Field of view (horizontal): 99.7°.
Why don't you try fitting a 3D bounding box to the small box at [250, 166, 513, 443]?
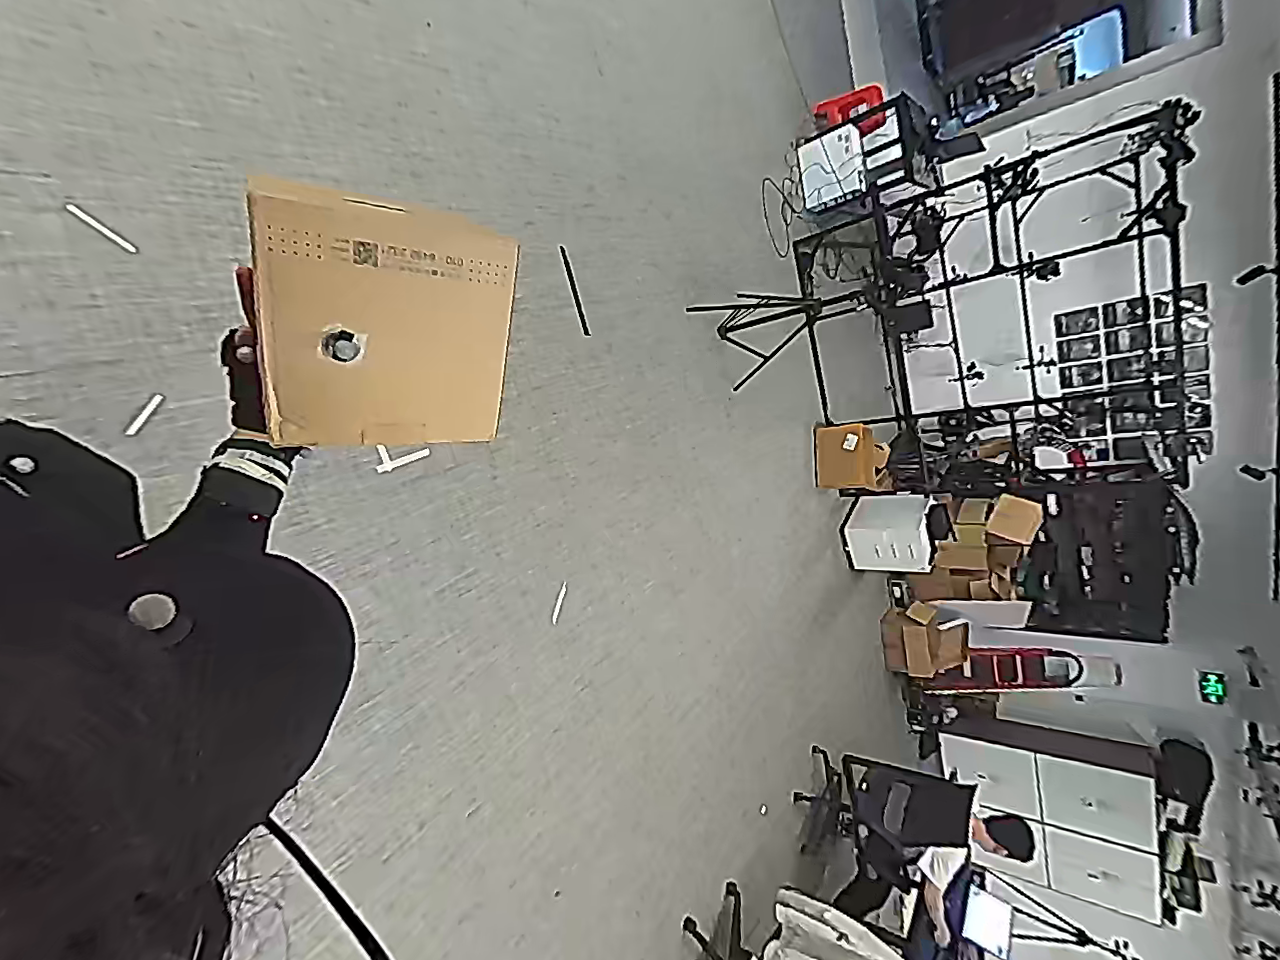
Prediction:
[{"bbox_3d":[-0.214,-0.142,0.443,0.168,0.179,0.176,-3,120,-36],"label":"small box"}]
